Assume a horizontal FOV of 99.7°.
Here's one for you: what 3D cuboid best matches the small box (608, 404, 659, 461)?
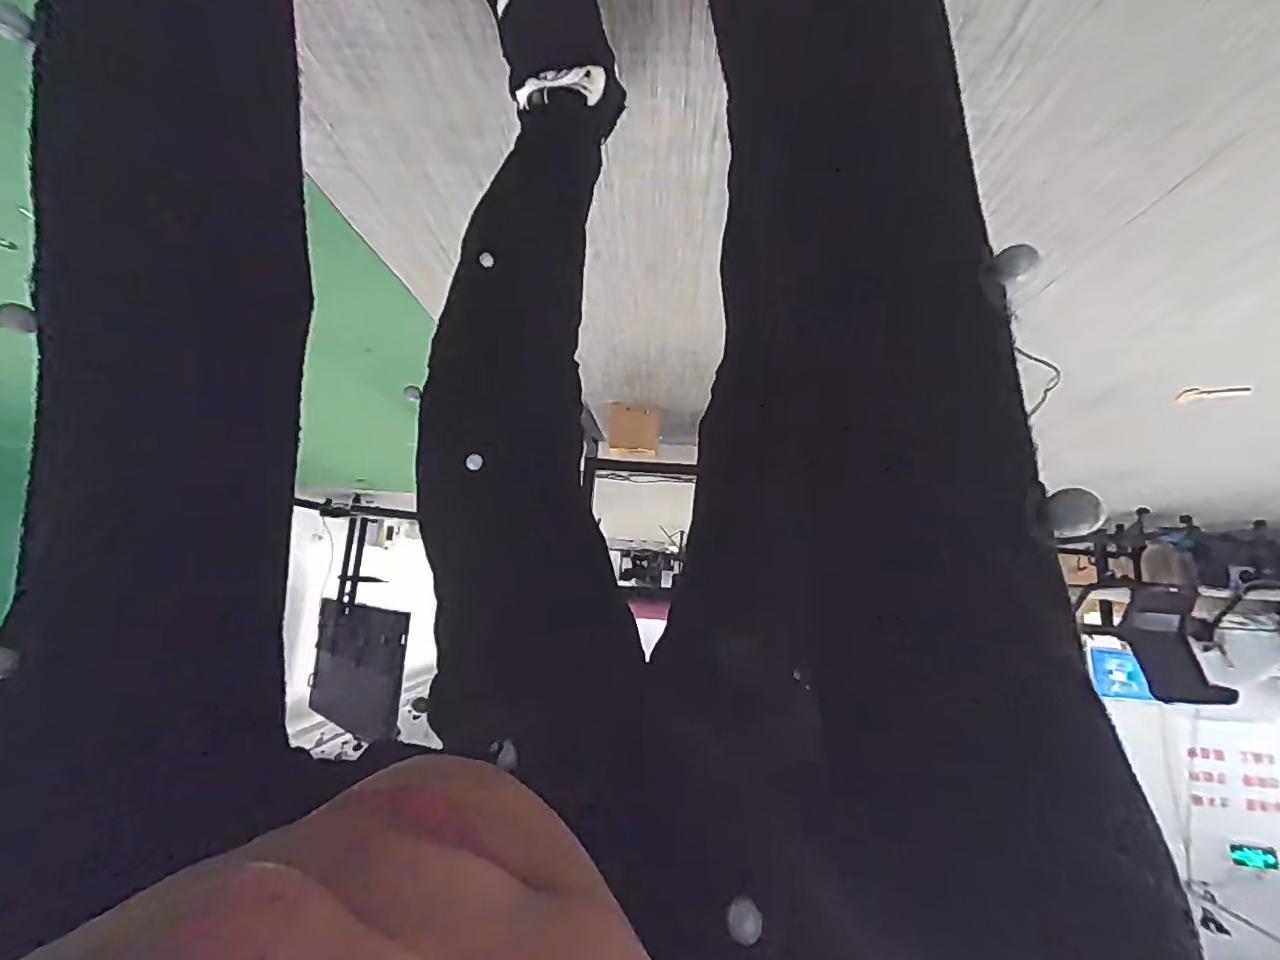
[{"bbox_3d":[-0.019,-0.172,1.949,0.168,0.176,0.179,3,170,6],"label":"small box"}]
